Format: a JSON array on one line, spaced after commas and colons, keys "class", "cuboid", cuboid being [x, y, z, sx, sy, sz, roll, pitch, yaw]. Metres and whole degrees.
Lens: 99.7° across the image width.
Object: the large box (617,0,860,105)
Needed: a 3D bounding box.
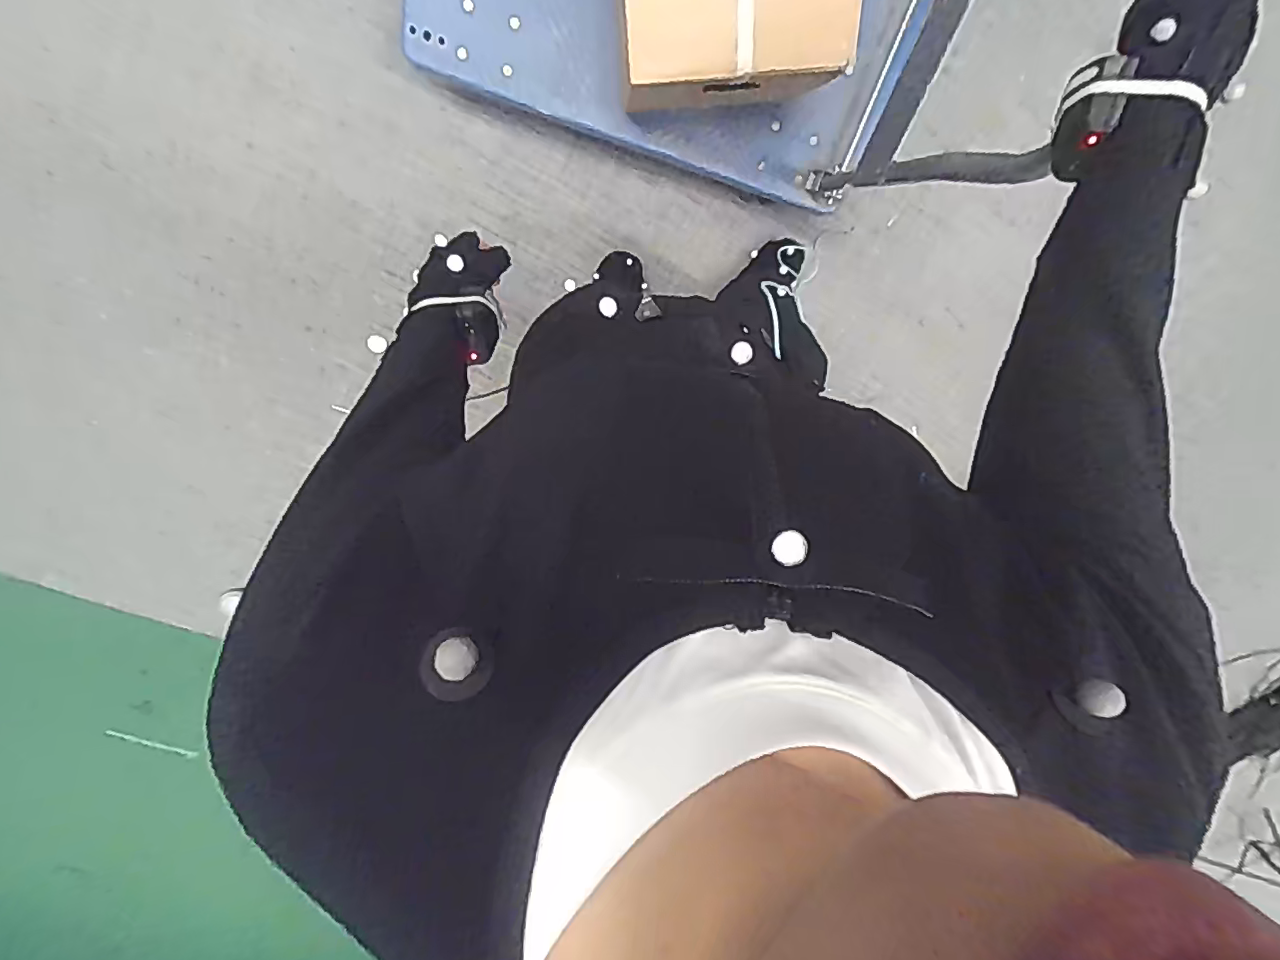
[{"class": "large box", "cuboid": [0.118, -0.807, 0.775, 0.320, 0.320, 0.408, -5, 120, 0]}]
